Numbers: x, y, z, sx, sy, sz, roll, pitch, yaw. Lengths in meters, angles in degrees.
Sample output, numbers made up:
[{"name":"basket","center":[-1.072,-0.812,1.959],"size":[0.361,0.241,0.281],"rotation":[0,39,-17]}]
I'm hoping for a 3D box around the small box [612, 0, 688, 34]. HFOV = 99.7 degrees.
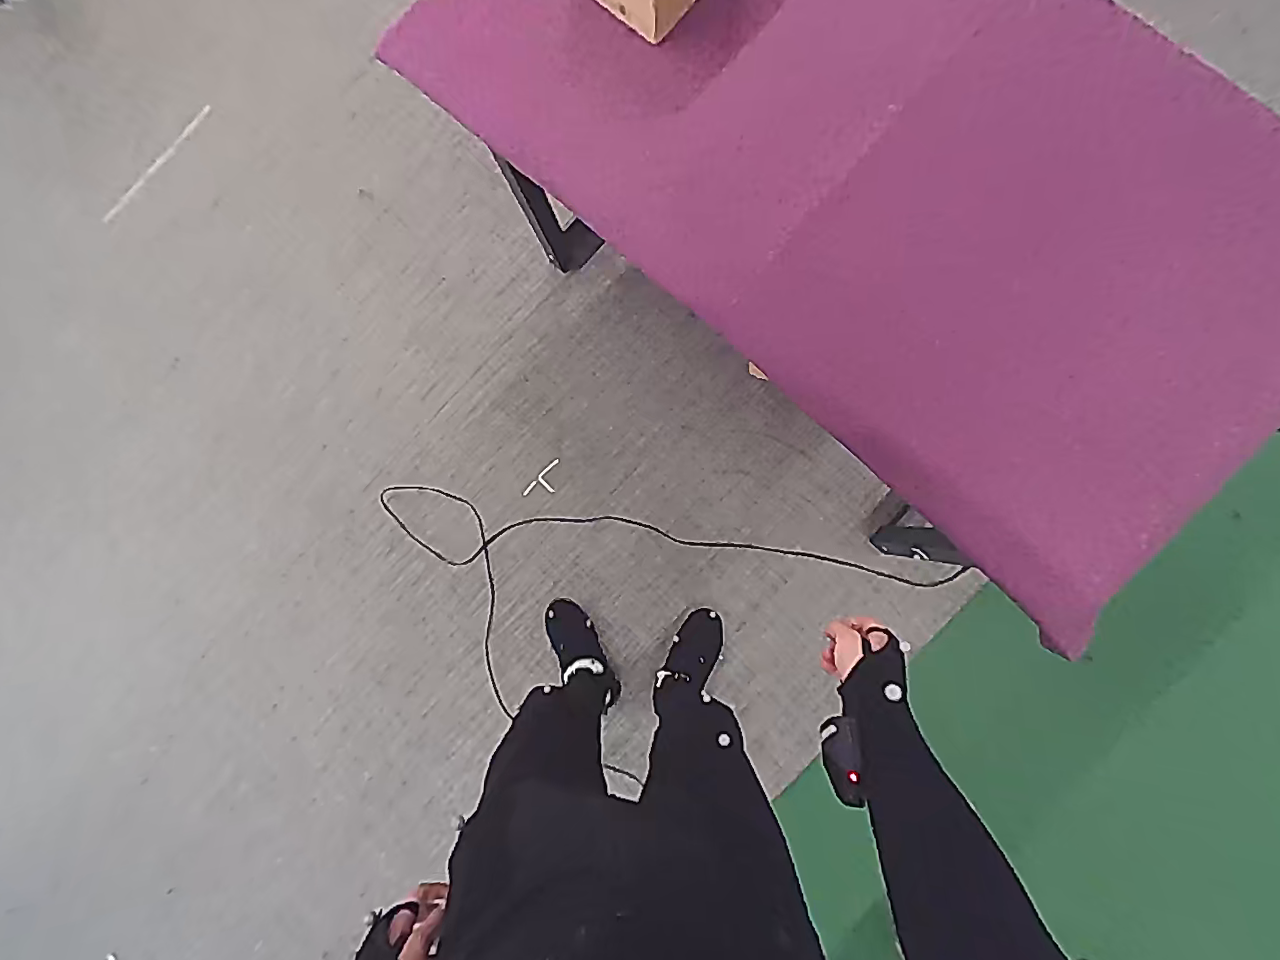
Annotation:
[{"name":"small box","center":[0.012,-0.719,0.665],"size":[0.168,0.176,0.179],"rotation":[42,91,6]}]
